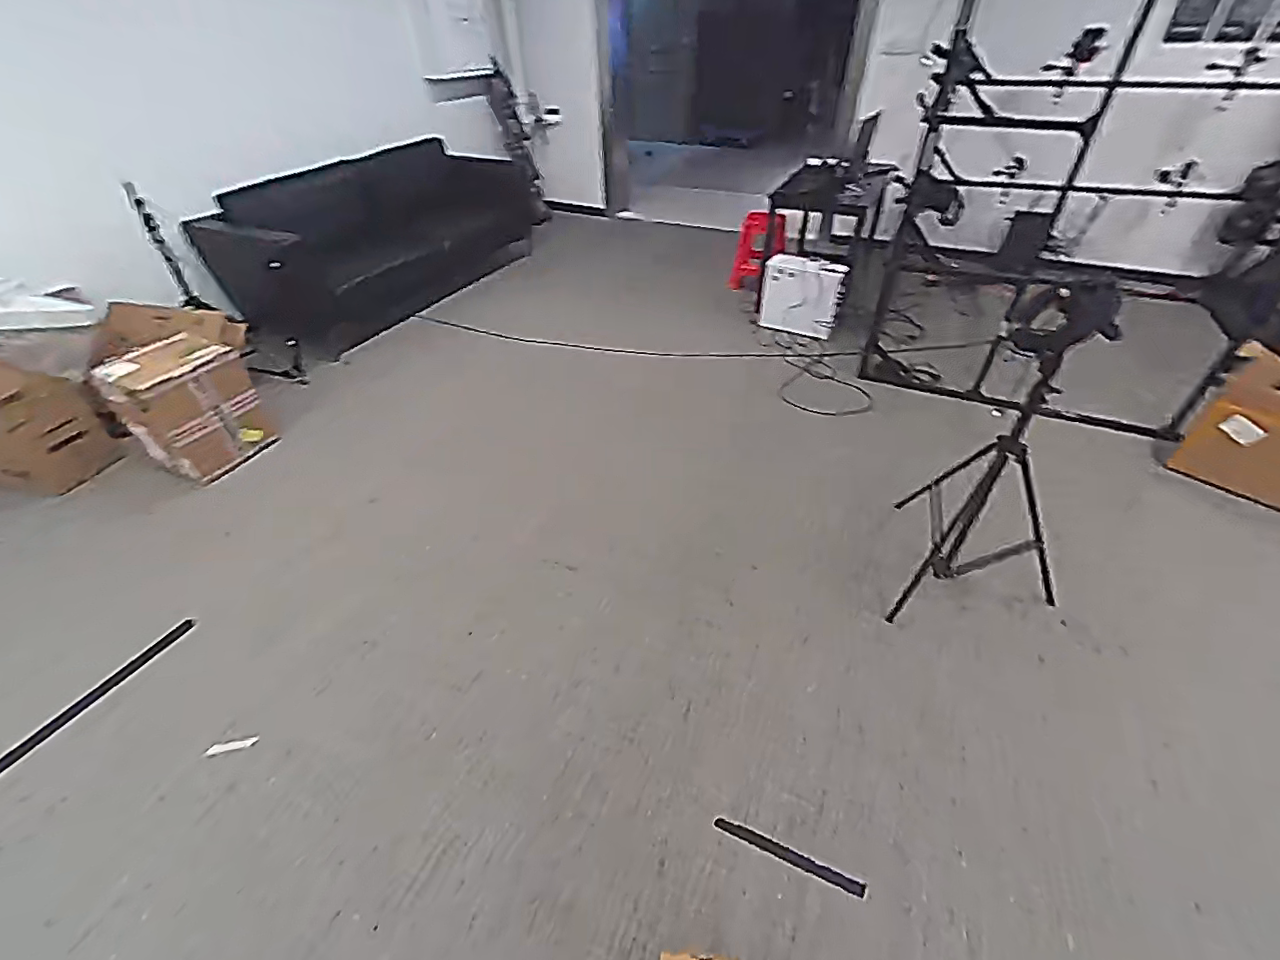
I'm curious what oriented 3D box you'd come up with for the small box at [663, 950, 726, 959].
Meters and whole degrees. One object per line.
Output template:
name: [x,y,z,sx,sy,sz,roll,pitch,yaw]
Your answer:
small box: [0.114,1.033,1.026,0.168,0.176,0.179,4,41,6]
